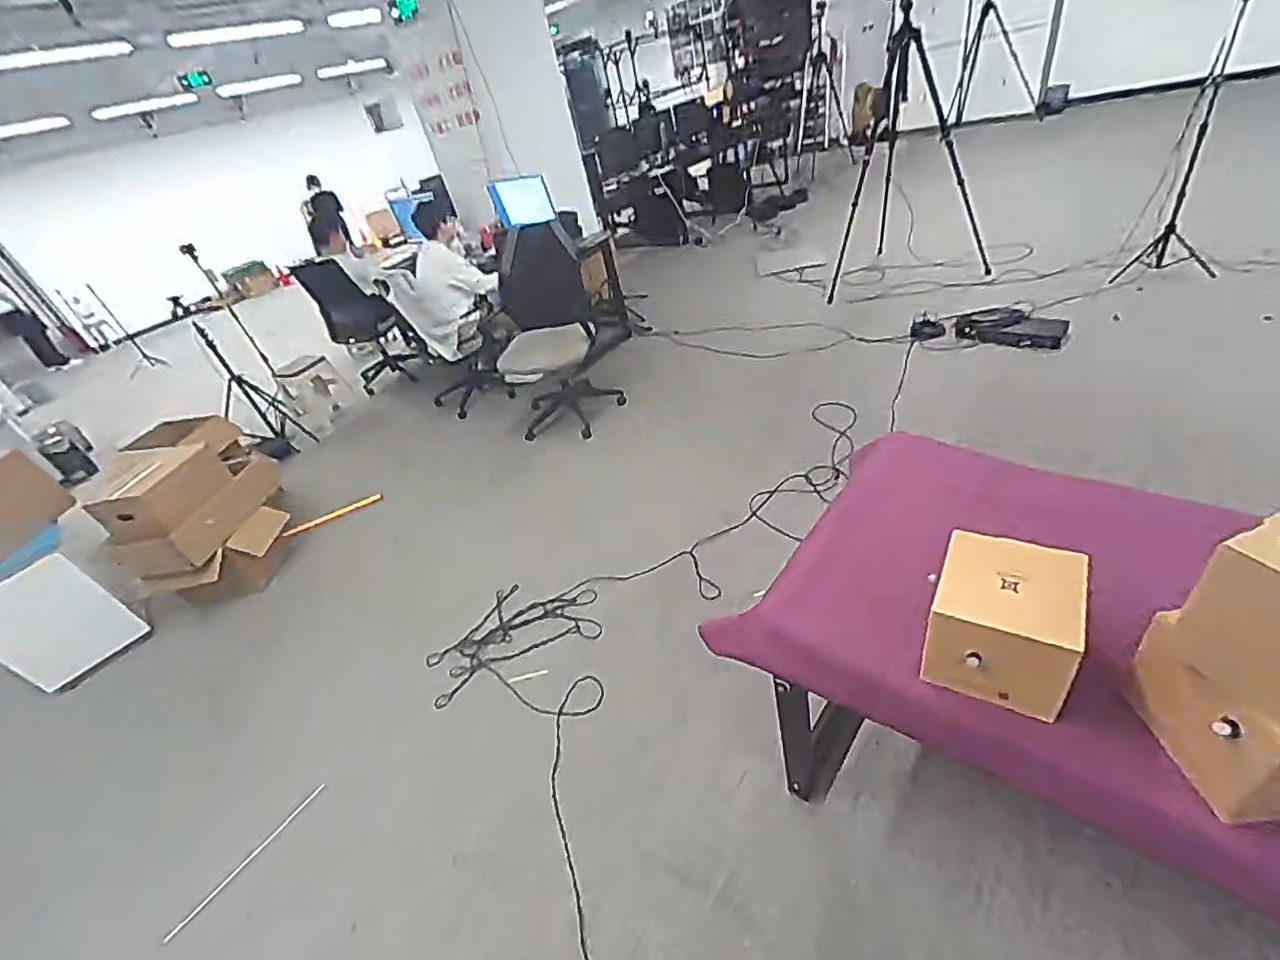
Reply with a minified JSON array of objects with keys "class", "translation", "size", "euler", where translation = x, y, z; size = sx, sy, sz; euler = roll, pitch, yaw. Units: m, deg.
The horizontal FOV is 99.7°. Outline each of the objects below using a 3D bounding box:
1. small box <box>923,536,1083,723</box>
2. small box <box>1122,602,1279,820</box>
[{"class":"small box","translation":[0.519,0.214,0.784],"size":[0.168,0.176,0.179],"euler":[11,42,33]},{"class":"small box","translation":[0.723,0.269,0.625],"size":[0.168,0.176,0.179],"euler":[-9,35,8]}]
